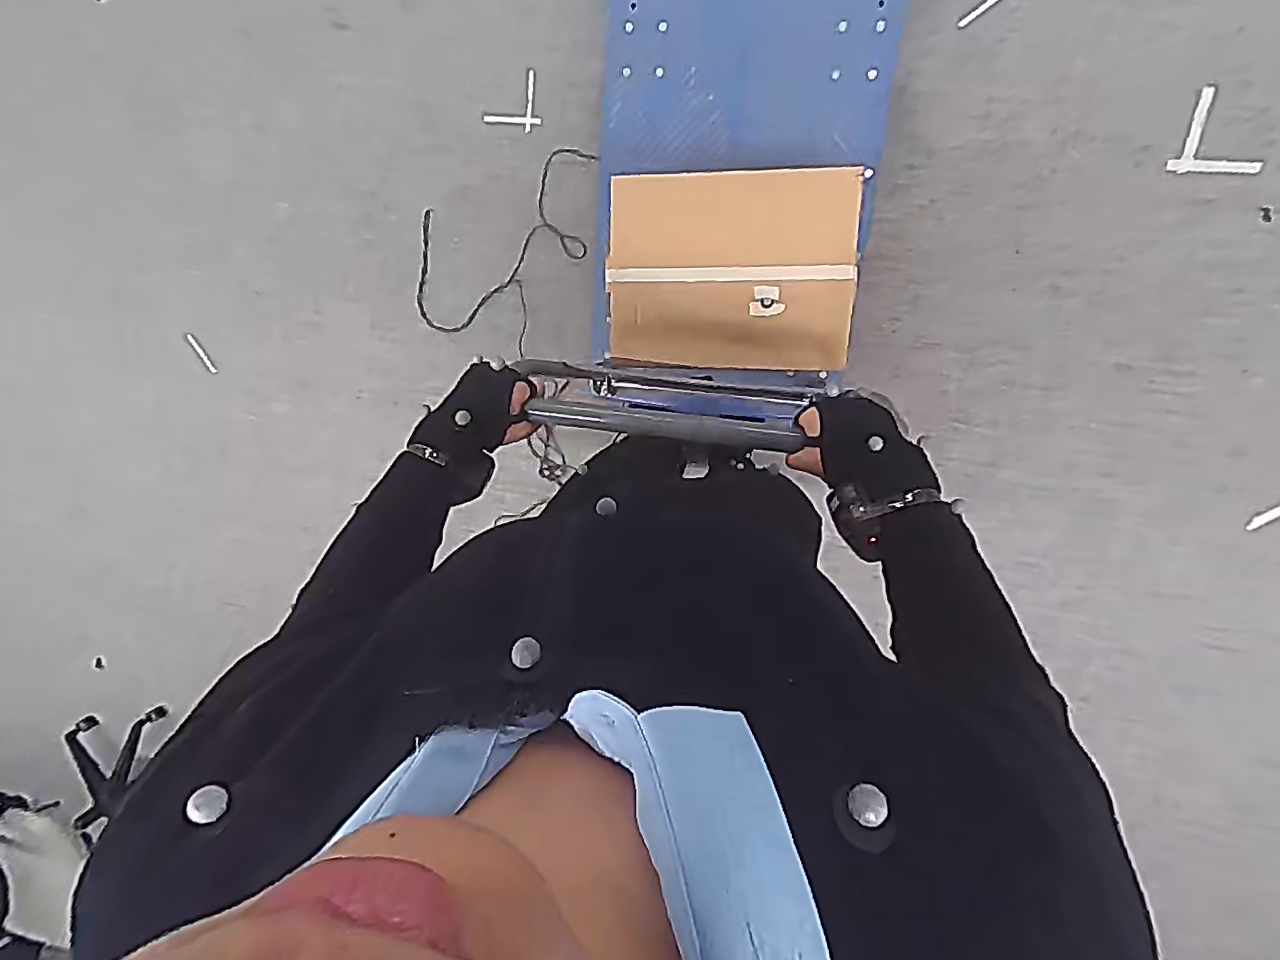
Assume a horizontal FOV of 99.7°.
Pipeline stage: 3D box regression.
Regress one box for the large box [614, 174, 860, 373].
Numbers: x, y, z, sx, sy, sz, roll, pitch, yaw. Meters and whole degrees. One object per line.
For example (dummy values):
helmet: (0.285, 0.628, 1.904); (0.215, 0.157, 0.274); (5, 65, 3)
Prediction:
large box: (0.173, -0.371, 1.056); (0.408, 0.320, 0.320); (3, 104, 8)
